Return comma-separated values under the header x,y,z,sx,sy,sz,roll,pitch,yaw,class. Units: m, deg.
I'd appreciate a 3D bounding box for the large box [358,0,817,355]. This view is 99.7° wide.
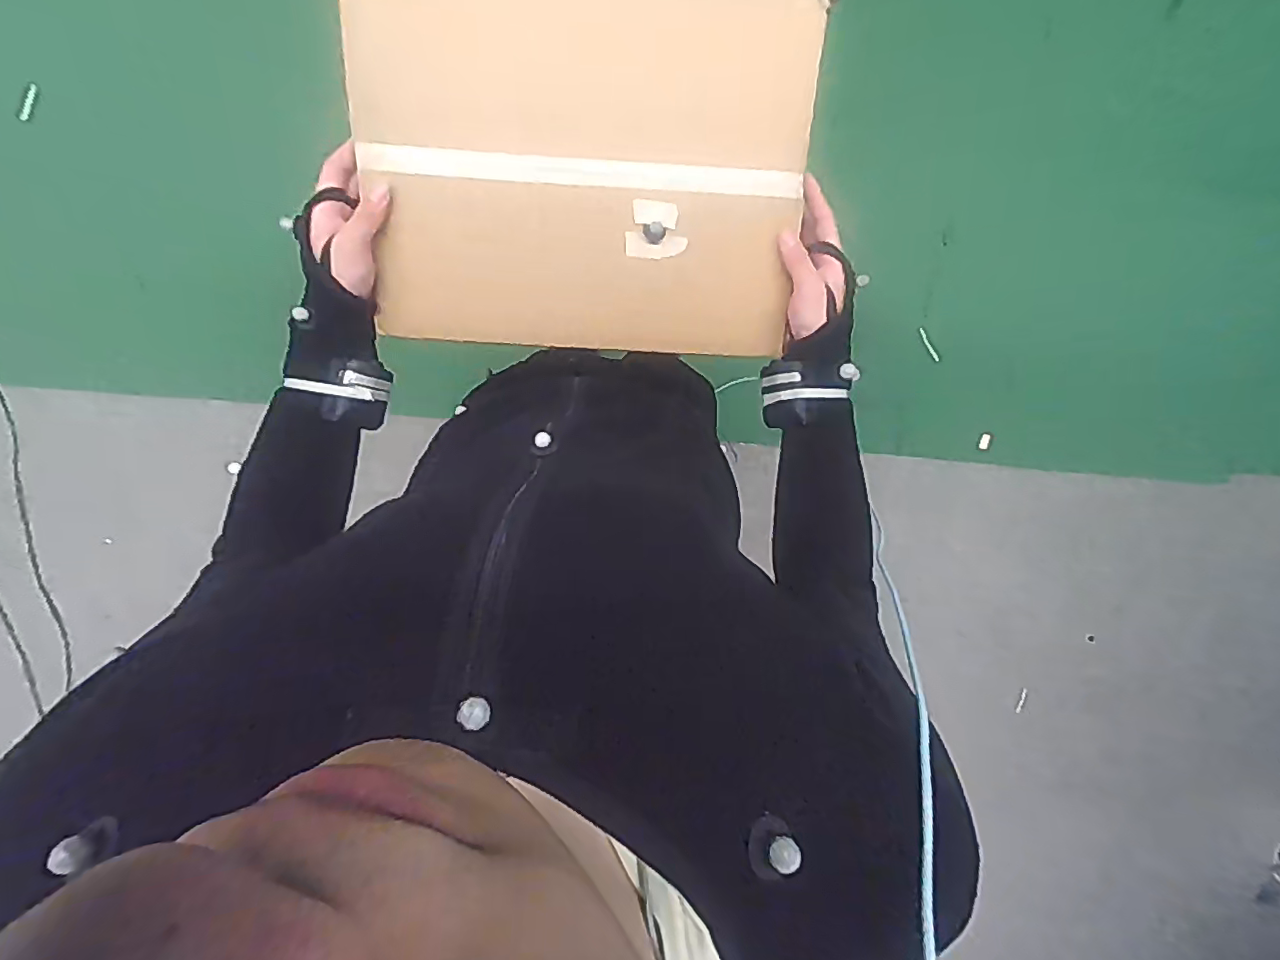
x,y,z,sx,sy,sz,roll,pitch,yaw,class
-0.056,-0.328,0.649,0.408,0.320,0.320,2,109,-4,large box
